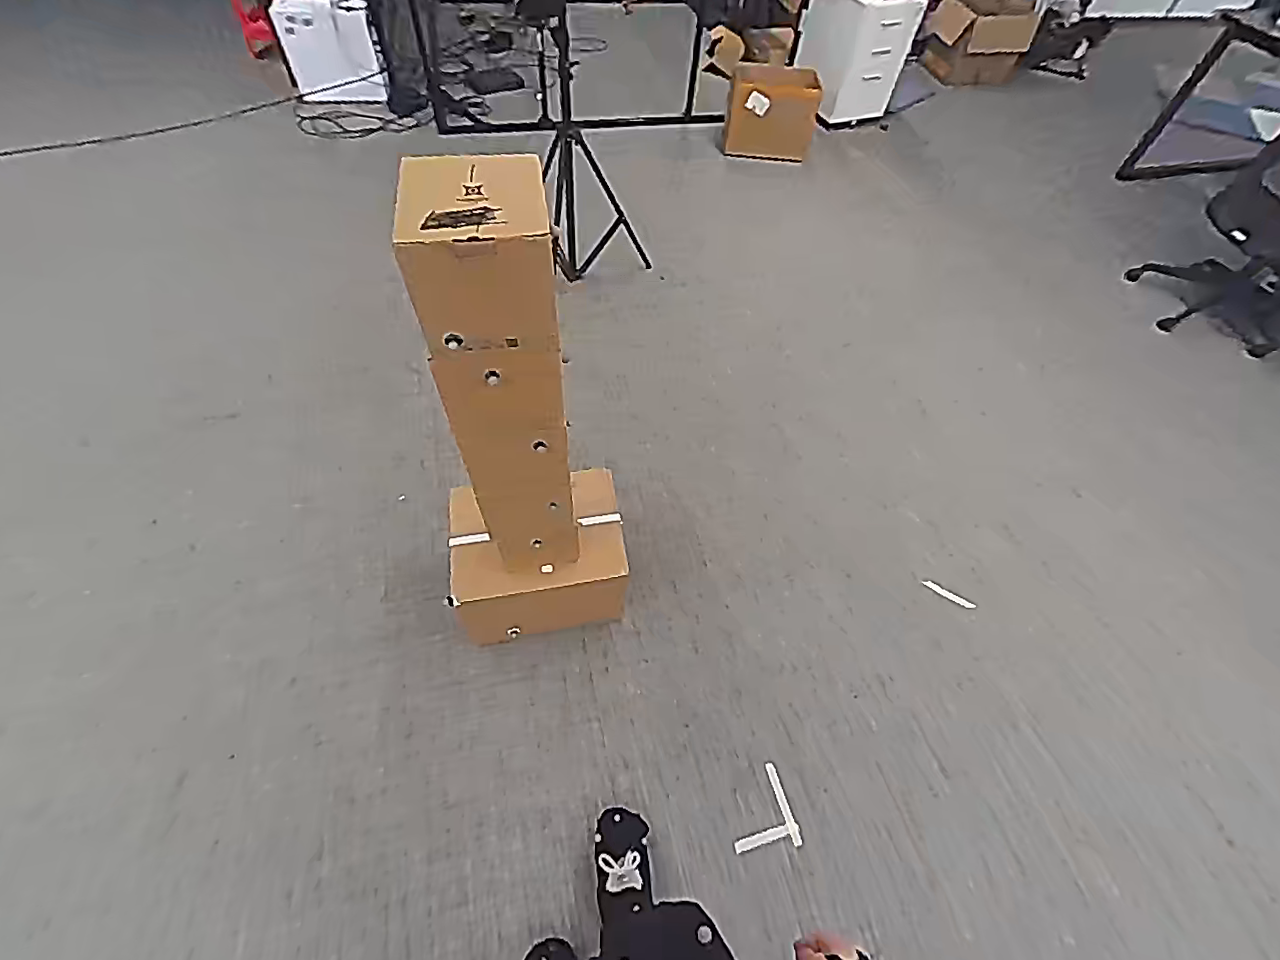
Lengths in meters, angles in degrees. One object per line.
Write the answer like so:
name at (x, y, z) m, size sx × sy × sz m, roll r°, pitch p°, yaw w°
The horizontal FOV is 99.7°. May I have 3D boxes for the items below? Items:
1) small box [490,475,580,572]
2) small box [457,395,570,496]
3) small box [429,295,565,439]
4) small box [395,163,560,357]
small box at (-0.235, 0.095, 1.228) m, size 0.179 × 0.176 × 0.168 m, roll -9°, pitch 58°, yaw -12°
small box at (-0.218, -0.089, 0.957) m, size 0.179 × 0.176 × 0.168 m, roll -7°, pitch 57°, yaw -9°
small box at (-0.208, -0.179, 0.823) m, size 0.179 × 0.176 × 0.168 m, roll -7°, pitch 58°, yaw -8°
small box at (-0.195, -0.272, 0.687) m, size 0.168 × 0.176 × 0.179 m, roll -6°, pitch 57°, yaw -8°
